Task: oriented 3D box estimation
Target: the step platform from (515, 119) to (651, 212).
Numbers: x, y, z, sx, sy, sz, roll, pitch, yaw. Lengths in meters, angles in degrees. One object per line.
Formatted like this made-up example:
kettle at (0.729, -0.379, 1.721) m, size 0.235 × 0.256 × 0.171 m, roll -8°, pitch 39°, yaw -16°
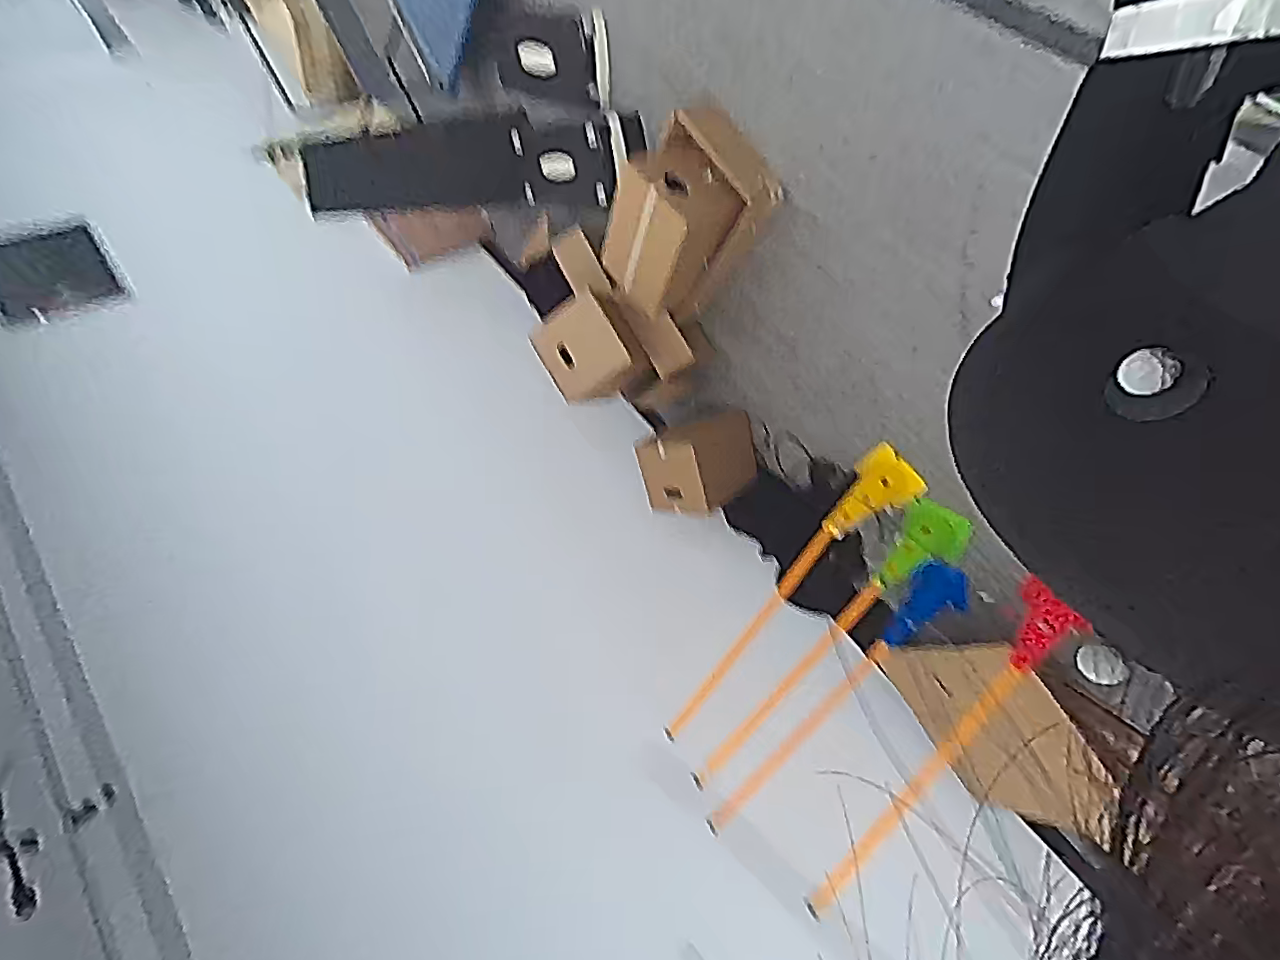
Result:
step platform at (-0.256, -1.281, 2.227) m, size 0.684 × 0.204 × 0.286 m, roll 29°, pitch 141°, yaw 42°
